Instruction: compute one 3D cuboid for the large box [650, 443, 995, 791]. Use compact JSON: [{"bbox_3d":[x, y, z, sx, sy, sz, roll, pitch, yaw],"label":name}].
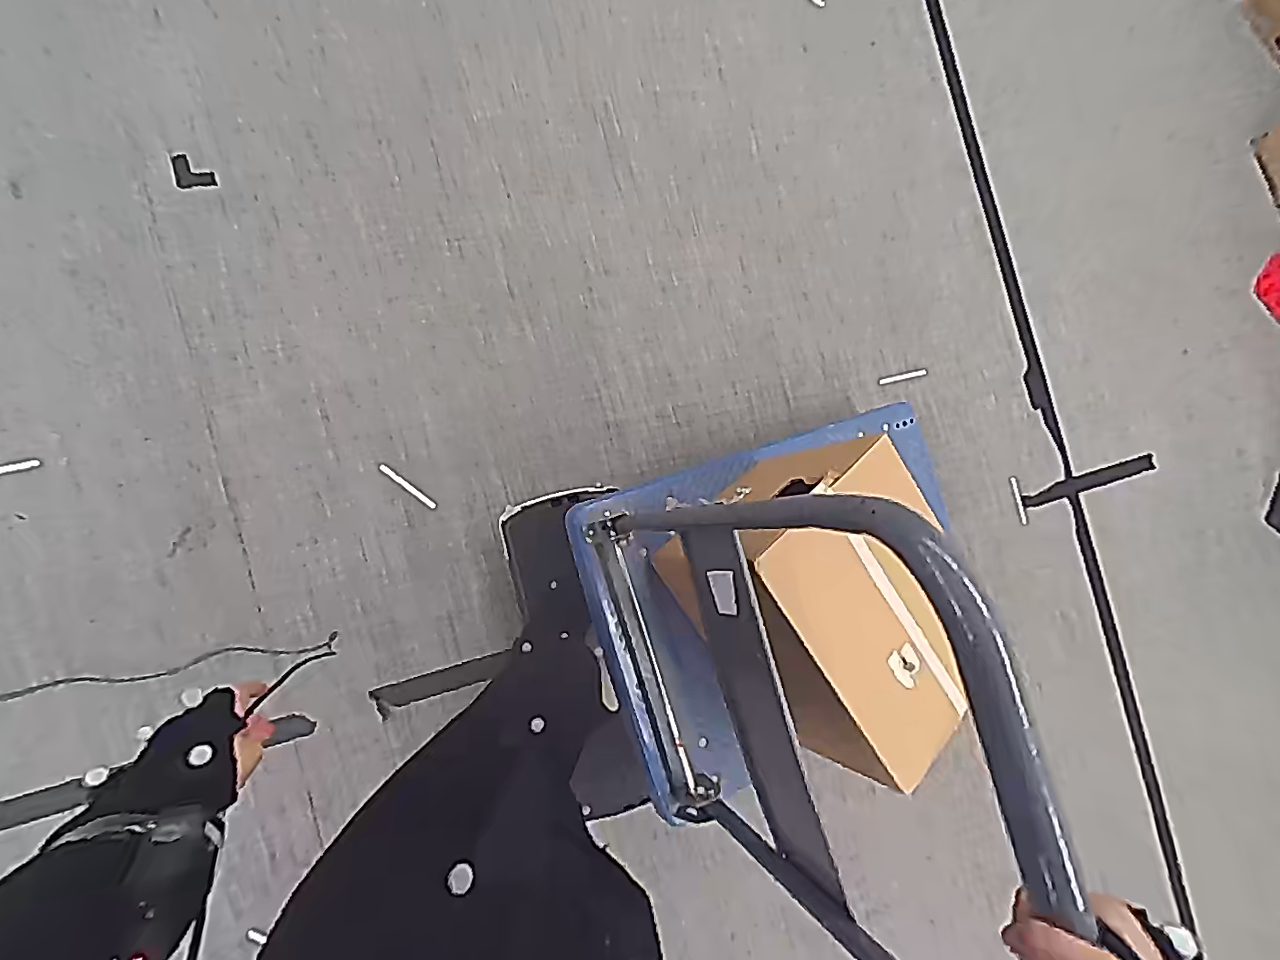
[{"bbox_3d":[0.290,0.203,0.907,0.320,0.320,0.408,-38,100,-24],"label":"large box"}]
